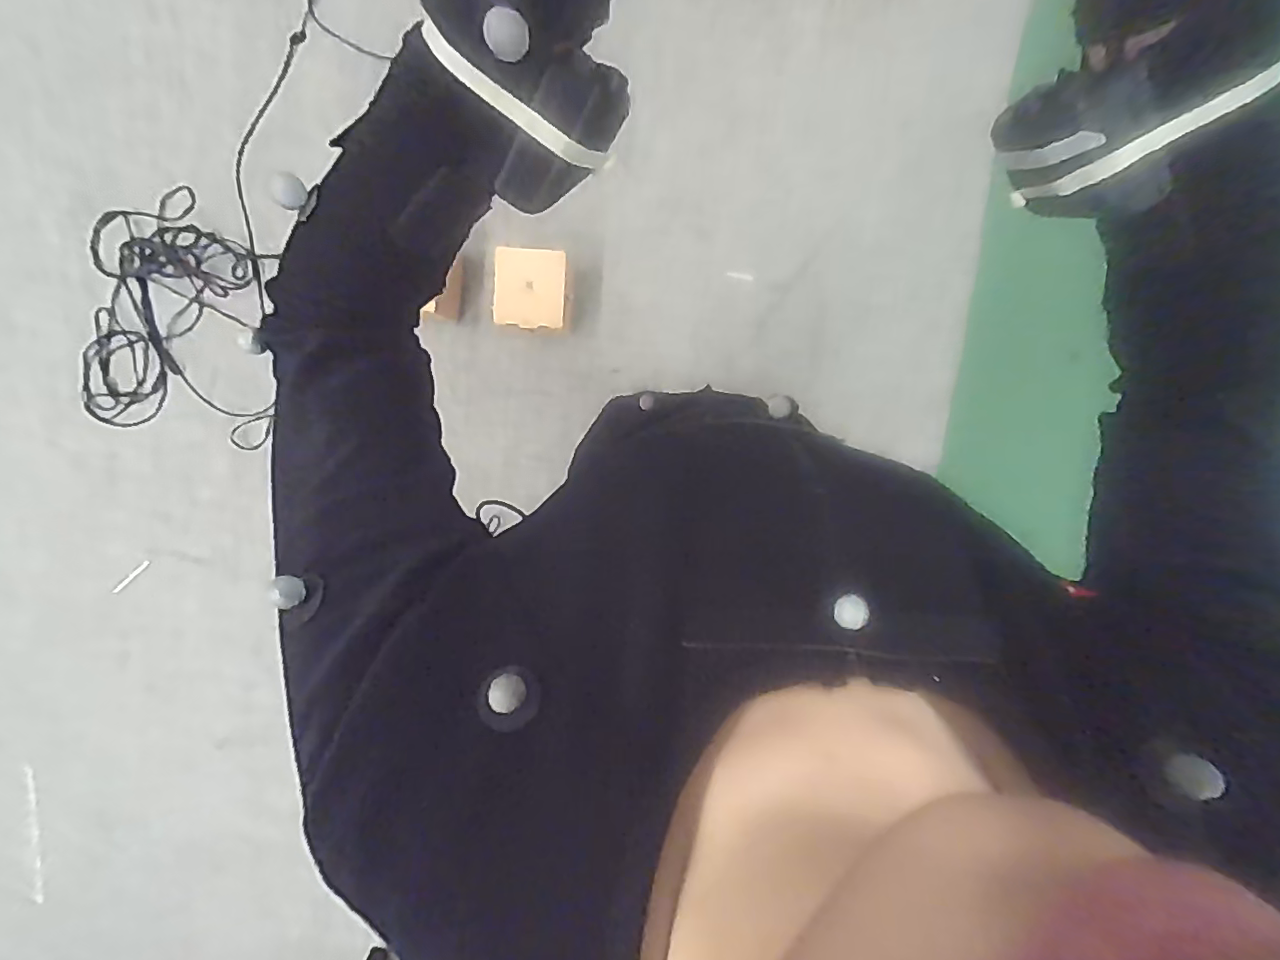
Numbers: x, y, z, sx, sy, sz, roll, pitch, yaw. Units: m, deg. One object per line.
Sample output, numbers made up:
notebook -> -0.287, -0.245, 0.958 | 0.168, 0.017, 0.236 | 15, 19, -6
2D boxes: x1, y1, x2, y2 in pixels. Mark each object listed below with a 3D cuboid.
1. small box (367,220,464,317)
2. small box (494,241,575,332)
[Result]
small box -> -0.543, -0.507, 1.325 | 0.168, 0.176, 0.179 | 9, 98, -1
small box -> -0.254, -0.469, 1.332 | 0.168, 0.176, 0.179 | 4, 99, 0
